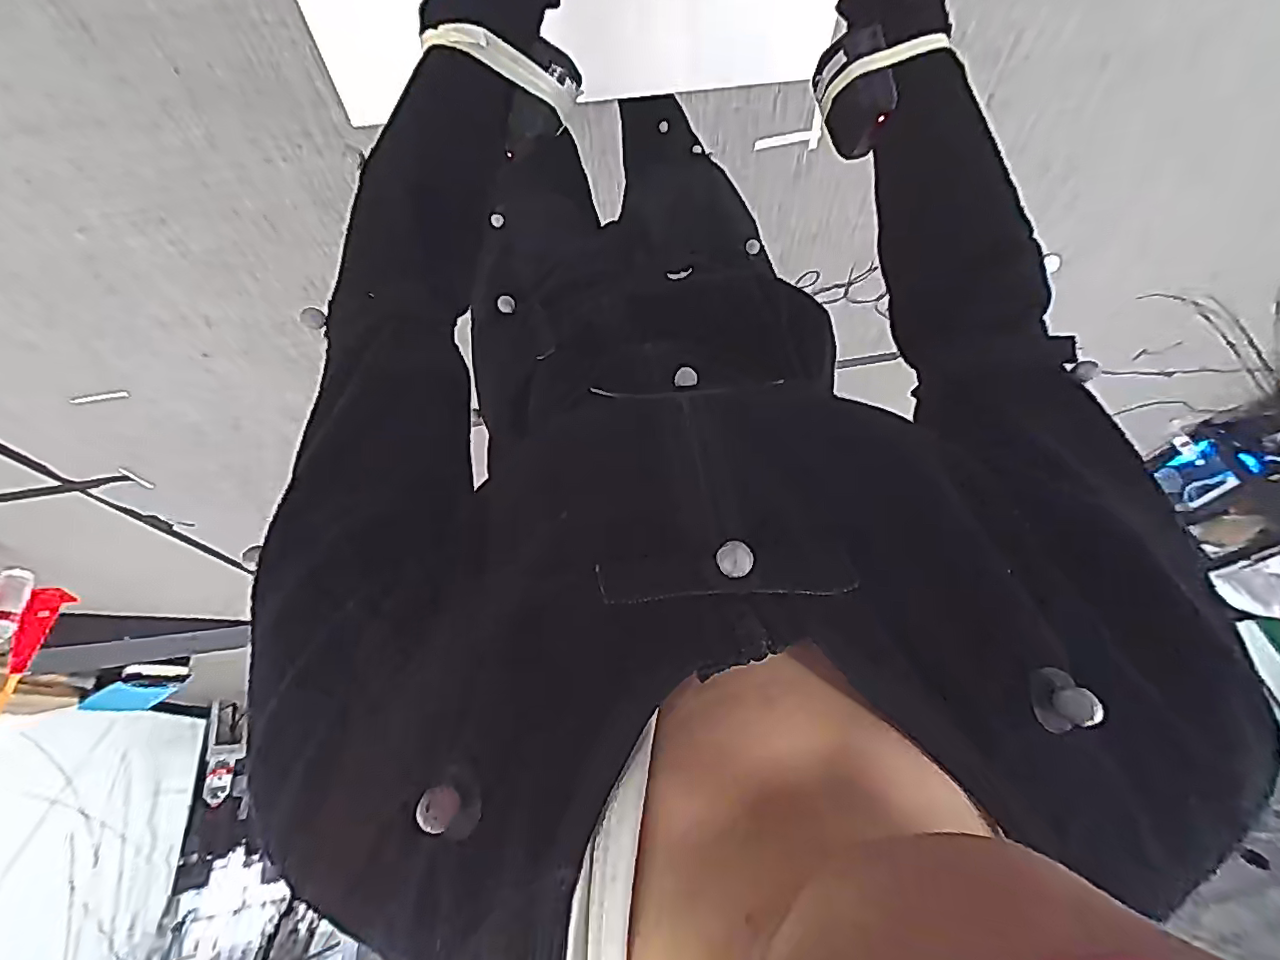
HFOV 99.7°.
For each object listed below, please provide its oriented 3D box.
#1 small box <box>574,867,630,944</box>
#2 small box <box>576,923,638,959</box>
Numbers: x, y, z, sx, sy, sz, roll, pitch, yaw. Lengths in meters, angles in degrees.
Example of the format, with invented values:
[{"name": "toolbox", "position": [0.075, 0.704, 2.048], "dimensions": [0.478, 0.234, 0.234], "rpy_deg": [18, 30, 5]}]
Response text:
[{"name": "small box", "position": [-0.131, 1.471, 1.880], "dimensions": [0.168, 0.176, 0.179], "rpy_deg": [-11, 152, -4]}, {"name": "small box", "position": [-0.102, 1.609, 1.790], "dimensions": [0.179, 0.176, 0.168], "rpy_deg": [-11, 152, 0]}]
